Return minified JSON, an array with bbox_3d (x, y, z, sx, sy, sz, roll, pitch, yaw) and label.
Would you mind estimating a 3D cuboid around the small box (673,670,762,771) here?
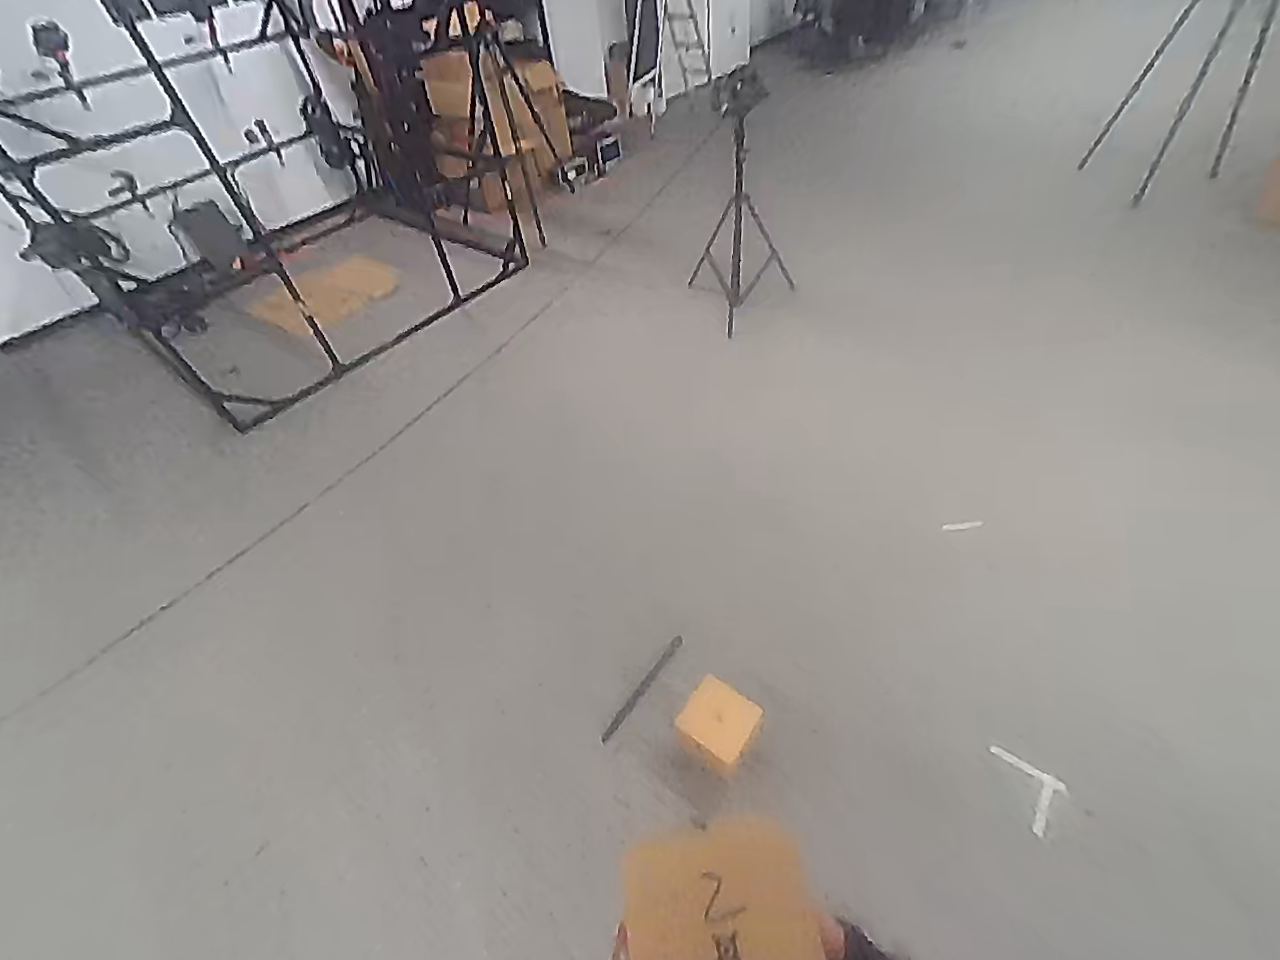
[{"bbox_3d":[0.212,0.657,1.464,0.179,0.176,0.168,26,57,29],"label":"small box"}]
